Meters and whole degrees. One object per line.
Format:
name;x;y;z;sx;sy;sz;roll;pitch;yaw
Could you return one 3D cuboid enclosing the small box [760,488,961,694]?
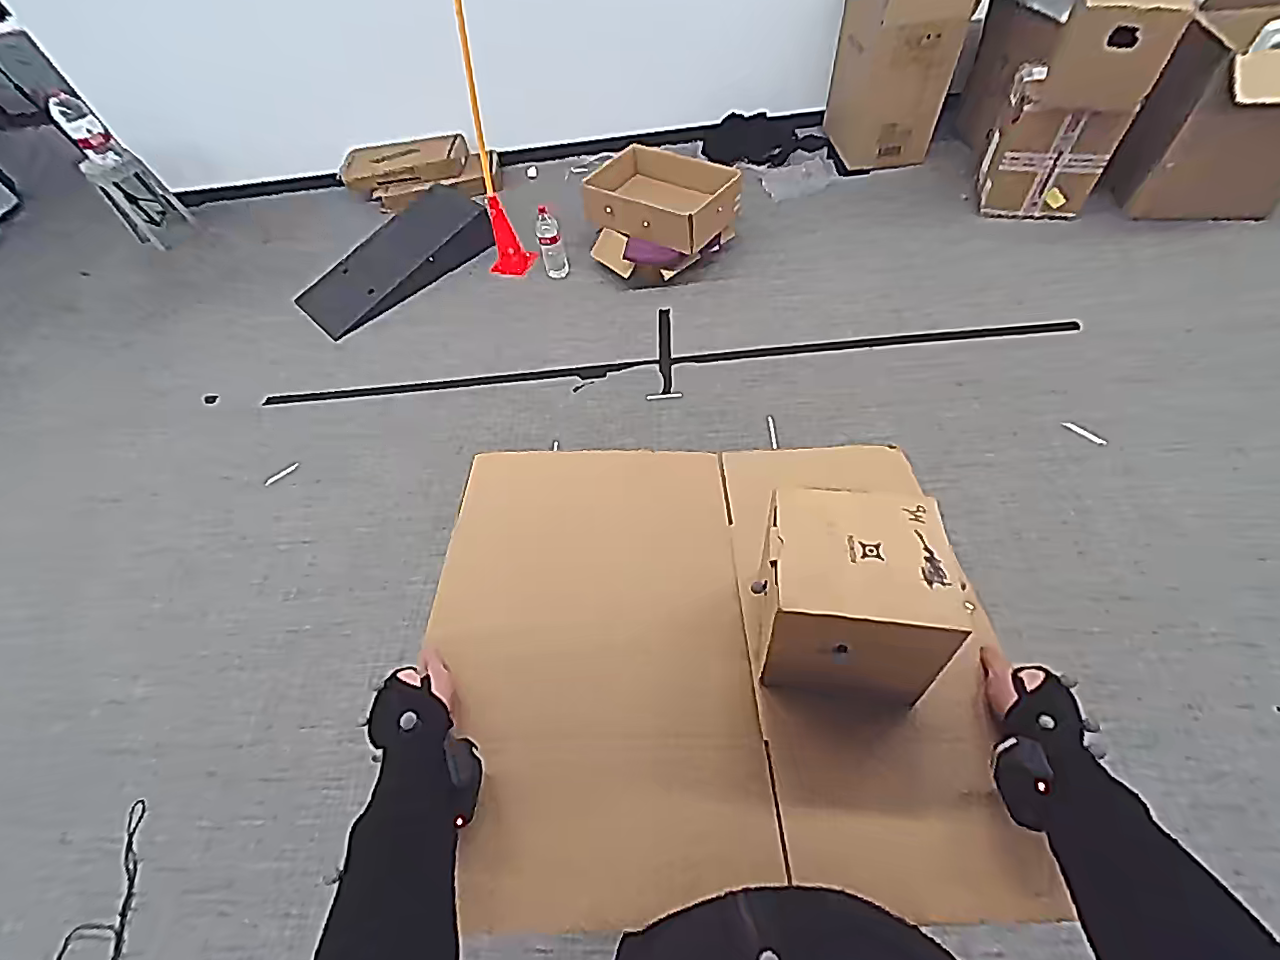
small box;0.232;0.129;0.623;0.179;0.176;0.168;3;47;9
